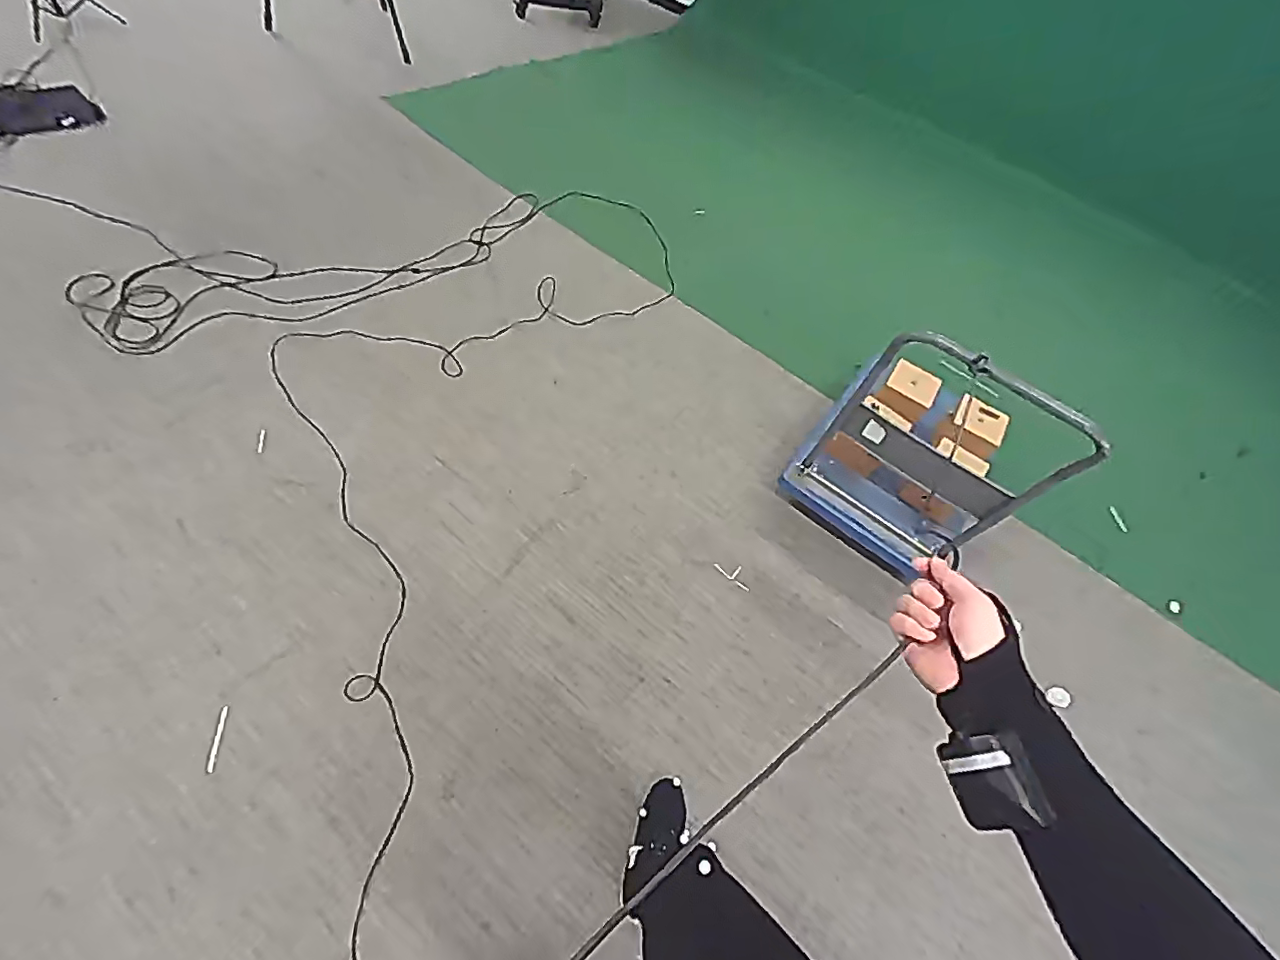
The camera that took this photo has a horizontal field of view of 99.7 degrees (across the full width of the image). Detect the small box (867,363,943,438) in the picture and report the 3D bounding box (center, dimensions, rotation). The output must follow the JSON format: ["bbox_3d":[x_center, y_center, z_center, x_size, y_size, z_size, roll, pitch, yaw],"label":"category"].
[{"bbox_3d":[0.956,-0.285,1.964,0.168,0.176,0.179,34,57,11],"label":"small box"}]

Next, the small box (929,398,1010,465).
[{"bbox_3d":[1.161,-0.149,1.914,0.168,0.176,0.179,34,58,12],"label":"small box"}]

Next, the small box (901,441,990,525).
[{"bbox_3d":[0.996,0.013,1.775,0.168,0.176,0.179,38,59,14],"label":"small box"}]
